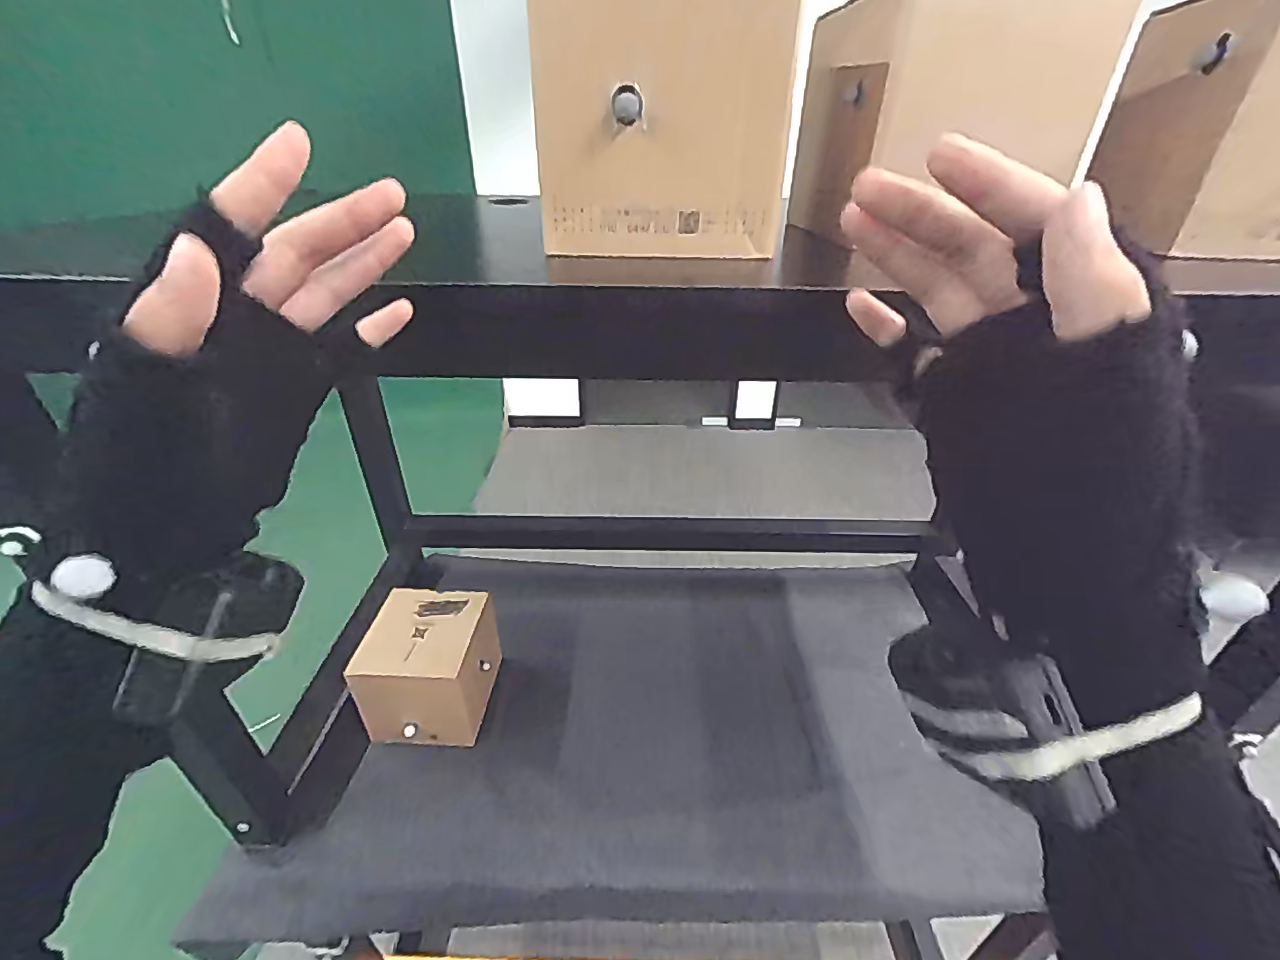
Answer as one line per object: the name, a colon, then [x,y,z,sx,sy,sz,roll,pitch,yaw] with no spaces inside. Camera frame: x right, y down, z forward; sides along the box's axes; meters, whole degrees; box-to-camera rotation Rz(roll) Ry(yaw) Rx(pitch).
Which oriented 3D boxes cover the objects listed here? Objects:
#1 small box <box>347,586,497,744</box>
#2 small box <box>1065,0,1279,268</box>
small box: [-0.338,0.297,0.881,0.168,0.176,0.179,2,33,1]
small box: [0.488,-0.267,0.424,0.168,0.176,0.179,7,32,10]
